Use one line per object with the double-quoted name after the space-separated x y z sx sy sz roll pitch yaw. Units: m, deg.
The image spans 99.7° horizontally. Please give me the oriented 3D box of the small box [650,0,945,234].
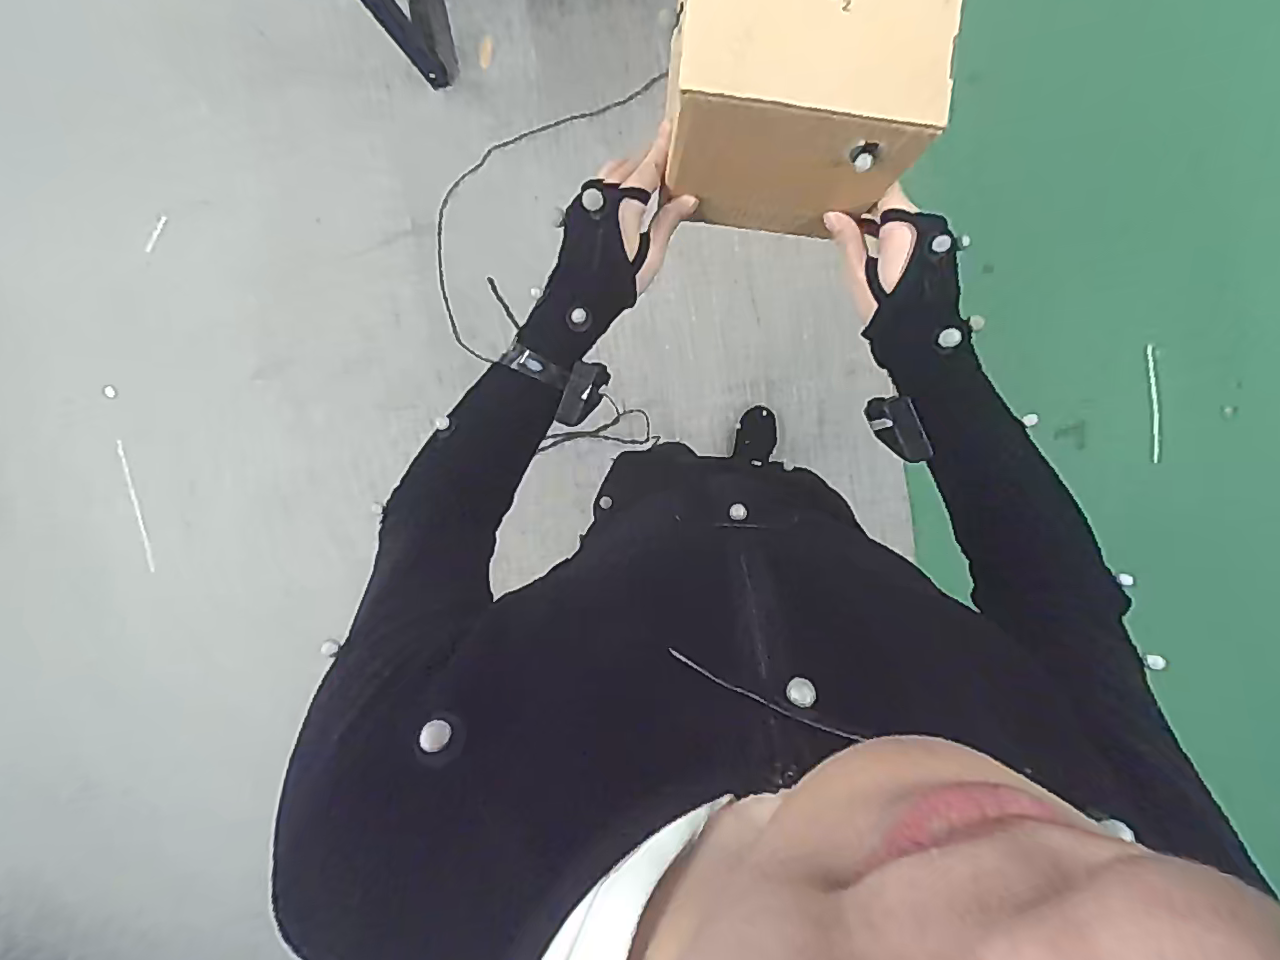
0.103 -0.312 0.418 0.179 0.176 0.168 5 90 -4 "small box"
